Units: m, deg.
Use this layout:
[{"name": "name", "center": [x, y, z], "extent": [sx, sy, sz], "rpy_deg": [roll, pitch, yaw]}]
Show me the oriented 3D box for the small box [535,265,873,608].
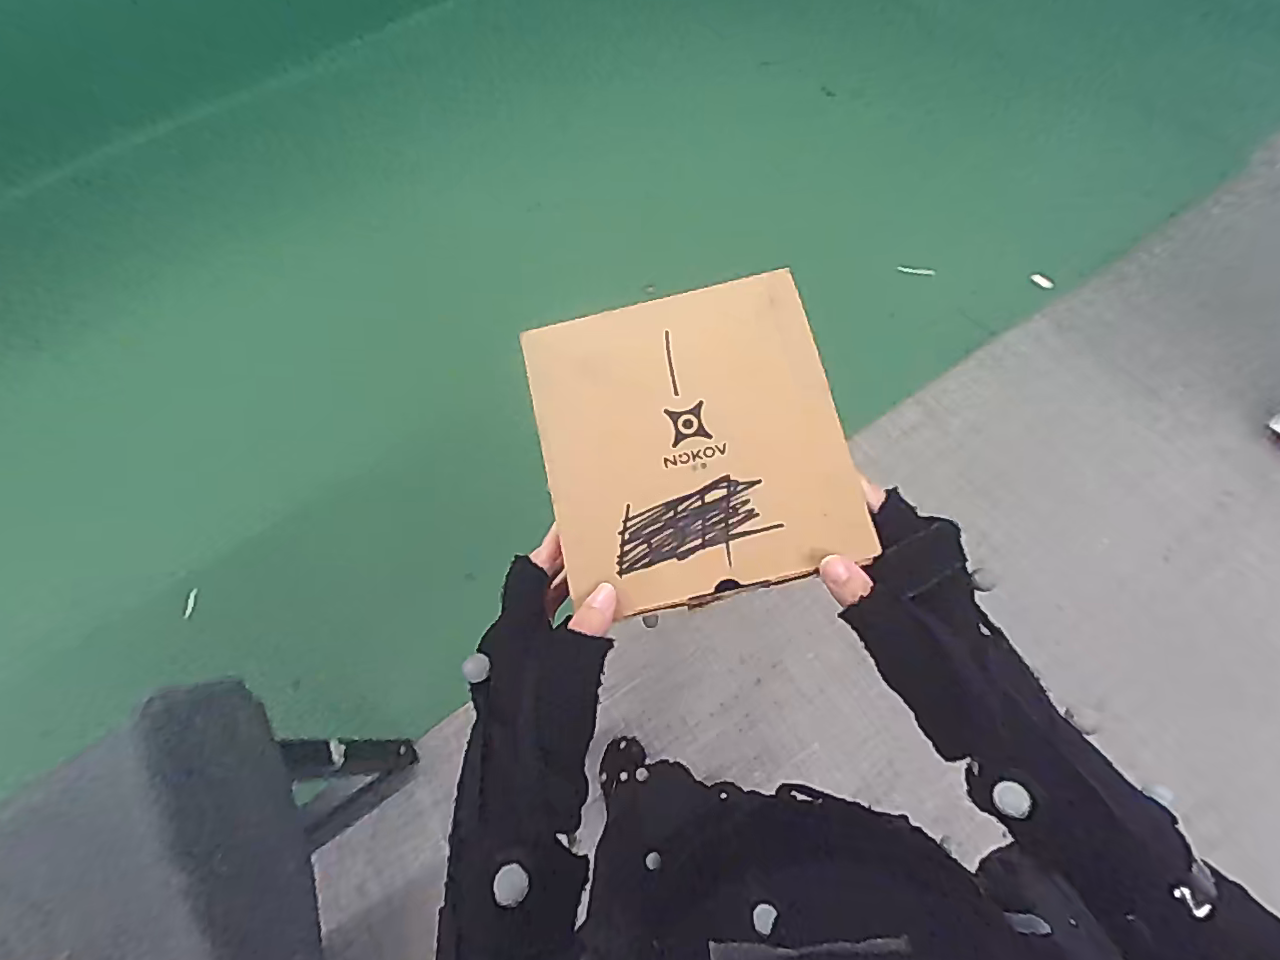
[{"name": "small box", "center": [0.037, -0.014, 0.385], "extent": [0.168, 0.176, 0.179], "rpy_deg": [-12, 78, 1]}]
